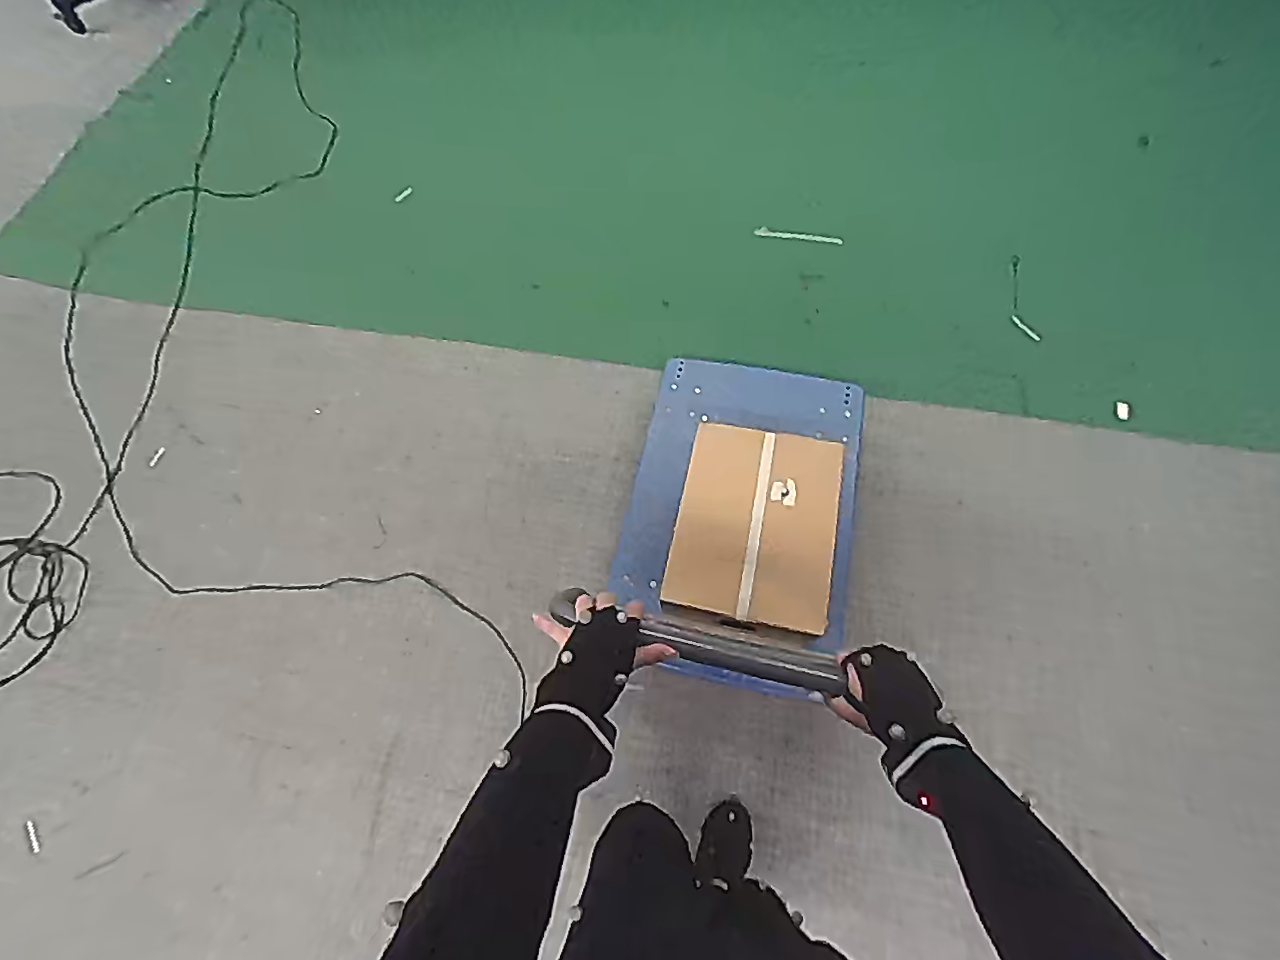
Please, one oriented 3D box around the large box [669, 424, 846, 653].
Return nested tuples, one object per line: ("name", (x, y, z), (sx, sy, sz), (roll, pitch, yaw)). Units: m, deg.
("large box", (0.256, 0.141, 1.219), (0.320, 0.320, 0.408), (11, 67, 9))
